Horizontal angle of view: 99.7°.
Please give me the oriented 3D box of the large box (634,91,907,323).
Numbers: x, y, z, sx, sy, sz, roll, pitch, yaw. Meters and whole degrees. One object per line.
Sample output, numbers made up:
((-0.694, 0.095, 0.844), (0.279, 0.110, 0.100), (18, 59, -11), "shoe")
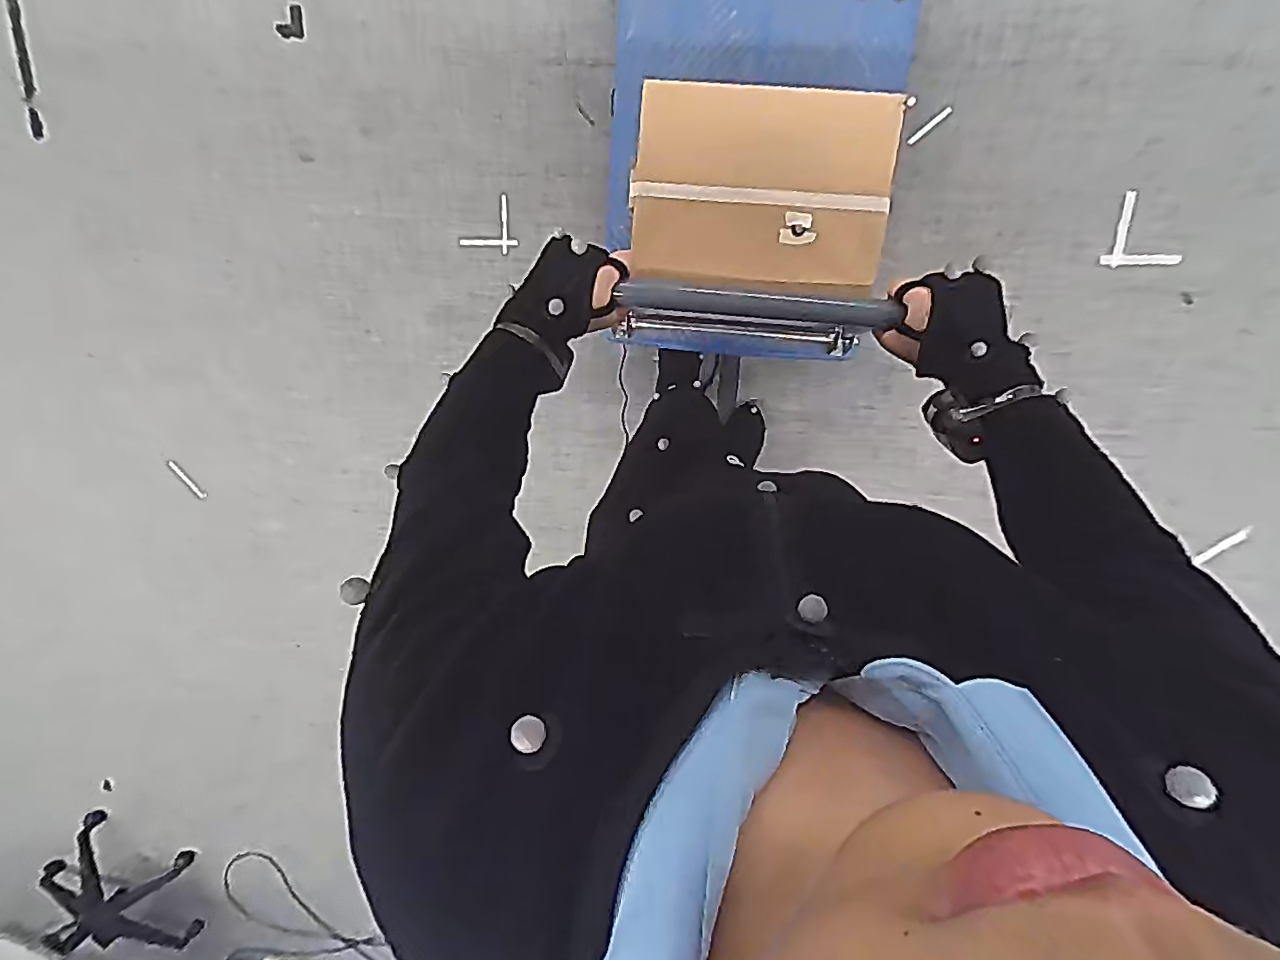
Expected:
((0.205, -0.470, 1.002), (0.408, 0.320, 0.320), (5, 105, 3), "large box")
